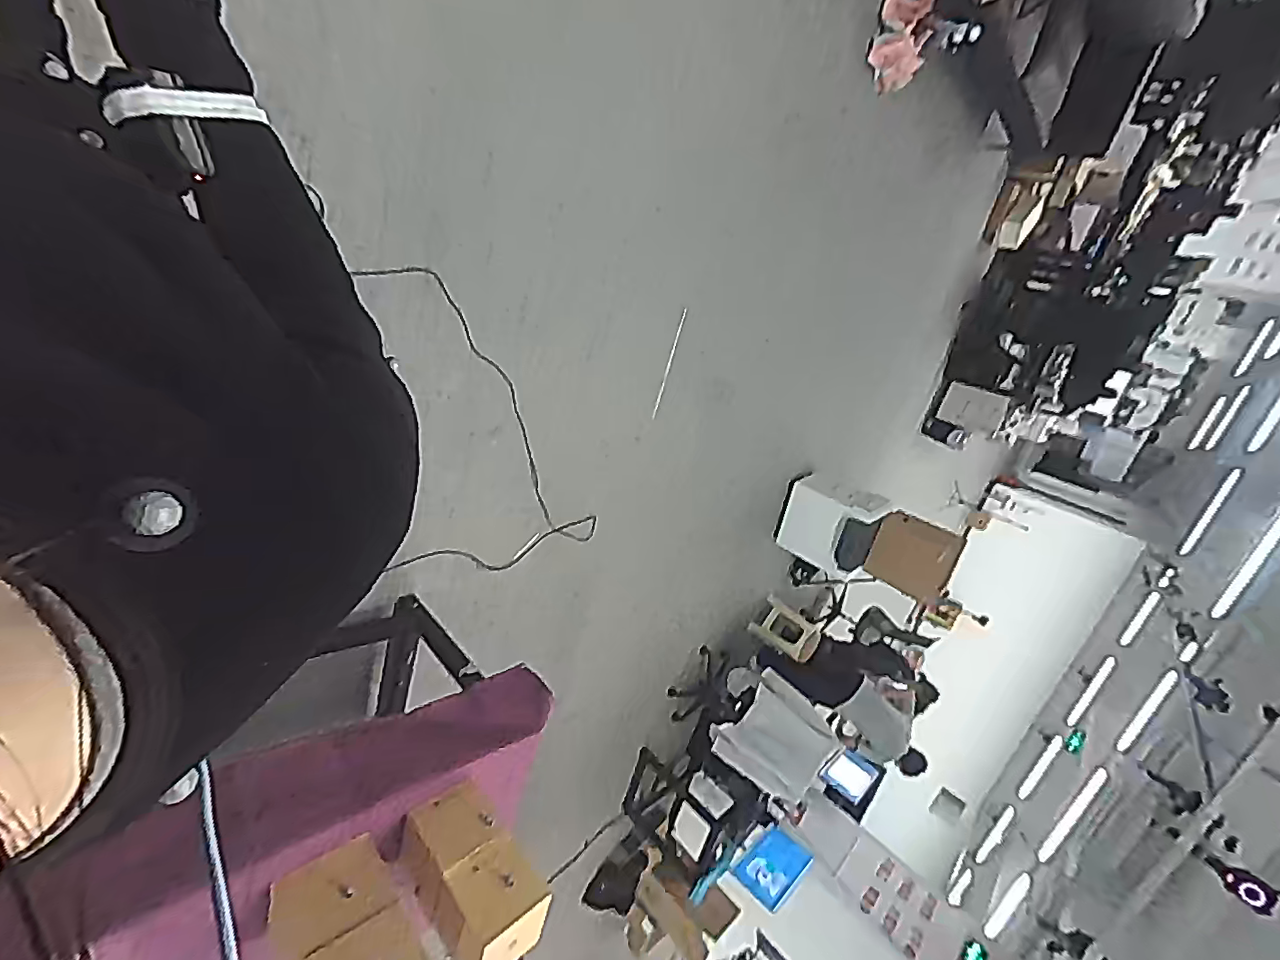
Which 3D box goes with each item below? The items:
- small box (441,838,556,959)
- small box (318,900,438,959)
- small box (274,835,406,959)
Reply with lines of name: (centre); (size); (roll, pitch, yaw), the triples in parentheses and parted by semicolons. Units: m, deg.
small box: (-0.308, 0.918, 1.161); (0.168, 0.176, 0.179); (-8, 122, -45)
small box: (-0.479, 0.919, 0.964); (0.179, 0.176, 0.168); (-3, 118, -48)
small box: (-0.592, 0.854, 1.065); (0.179, 0.176, 0.168); (-5, 118, -47)
